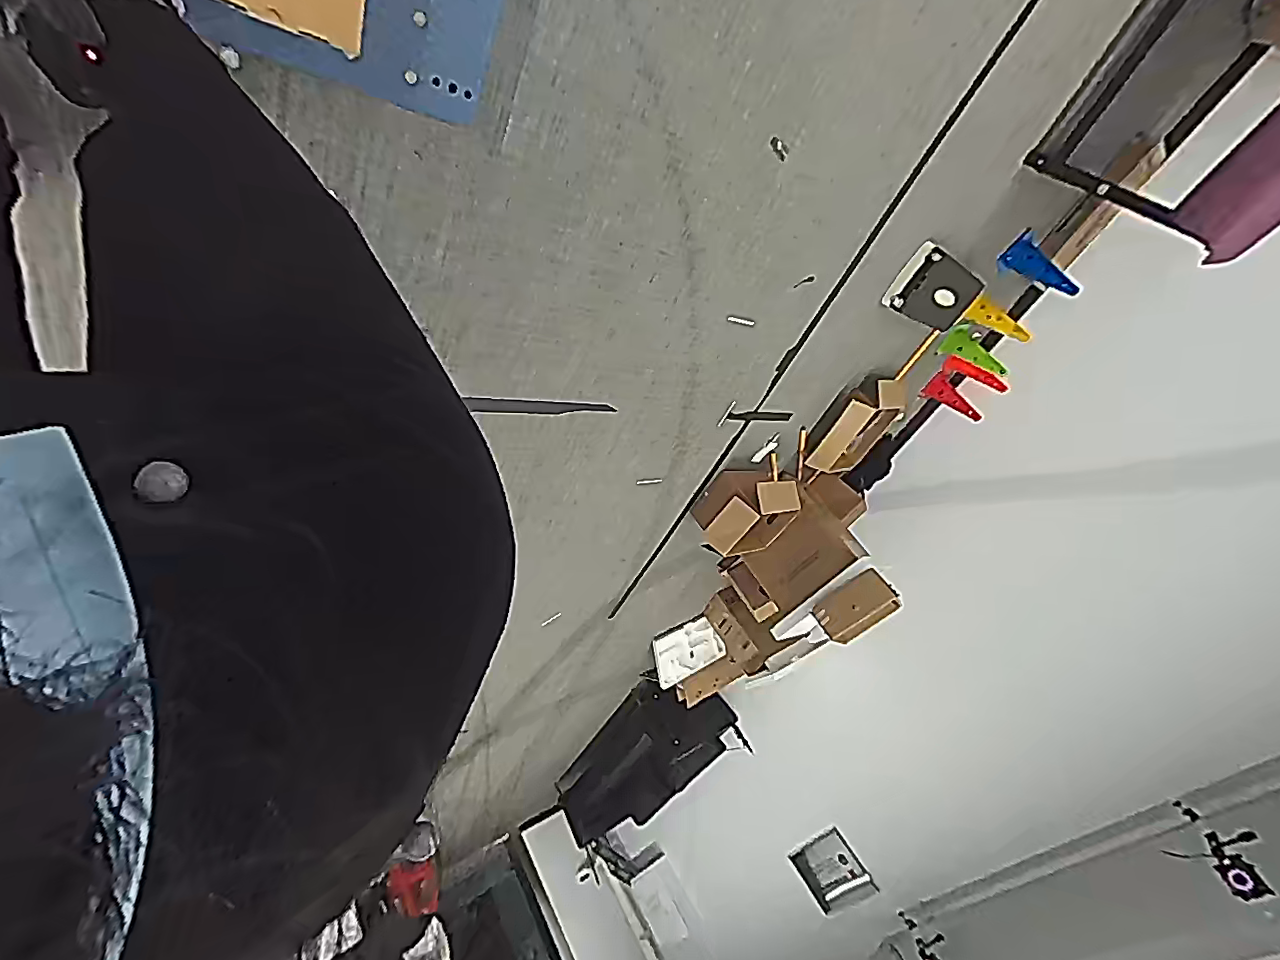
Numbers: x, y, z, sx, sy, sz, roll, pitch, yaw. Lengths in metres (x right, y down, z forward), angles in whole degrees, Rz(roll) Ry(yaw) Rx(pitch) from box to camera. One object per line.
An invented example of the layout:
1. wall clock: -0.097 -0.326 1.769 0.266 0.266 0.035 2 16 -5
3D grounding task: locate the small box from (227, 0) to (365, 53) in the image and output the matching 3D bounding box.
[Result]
1. small box: -0.383 -0.588 0.543 0.168 0.176 0.179 -7 139 -42
